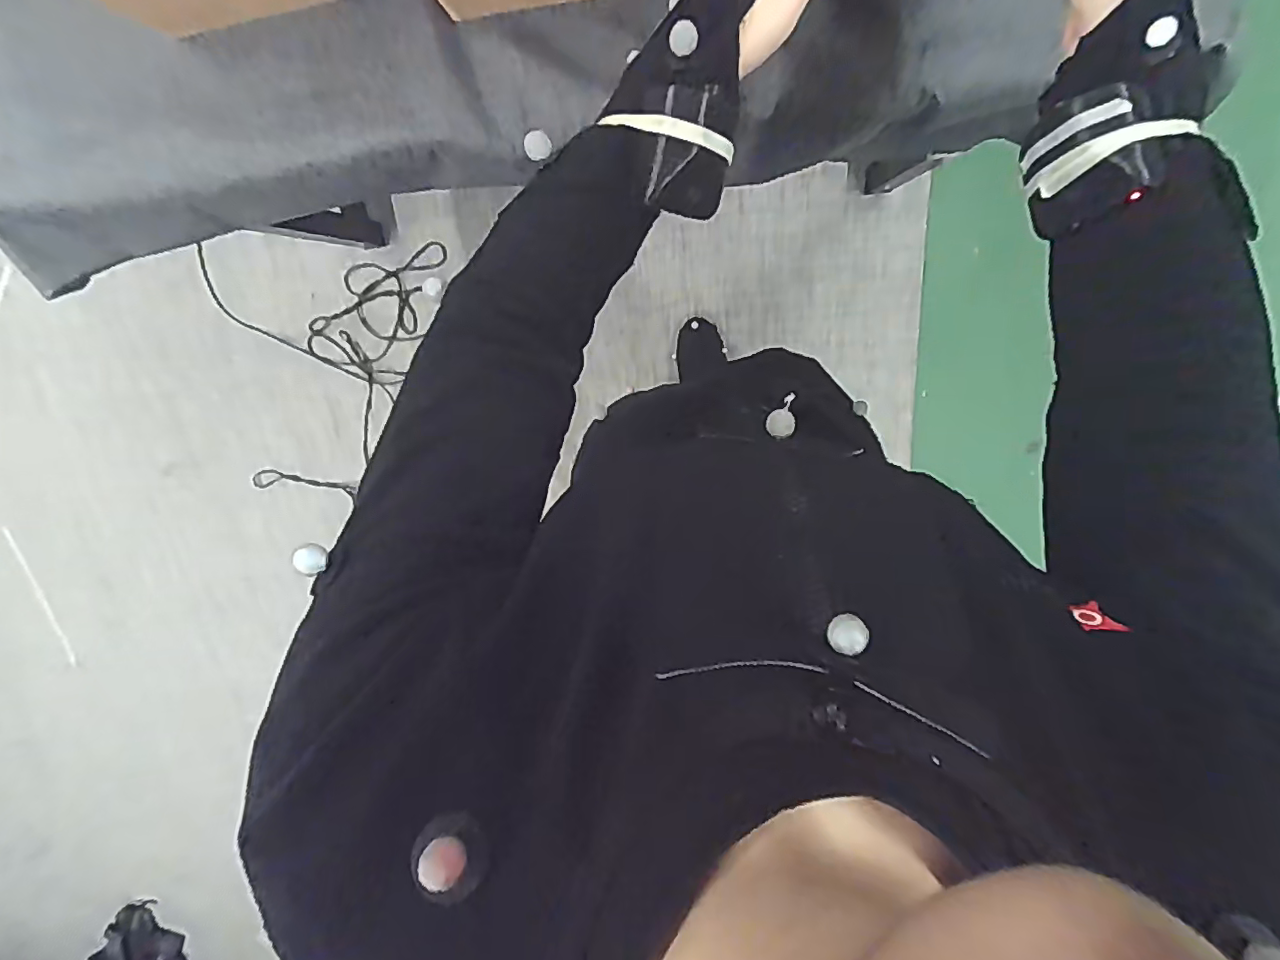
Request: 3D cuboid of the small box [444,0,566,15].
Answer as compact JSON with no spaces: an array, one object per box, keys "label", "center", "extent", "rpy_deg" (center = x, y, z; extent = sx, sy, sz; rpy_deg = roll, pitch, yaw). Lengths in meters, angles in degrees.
[{"label":"small box","center":[-0.101,-0.478,0.385],"extent":[0.179,0.176,0.168],"rpy_deg":[-6,107,5]}]
